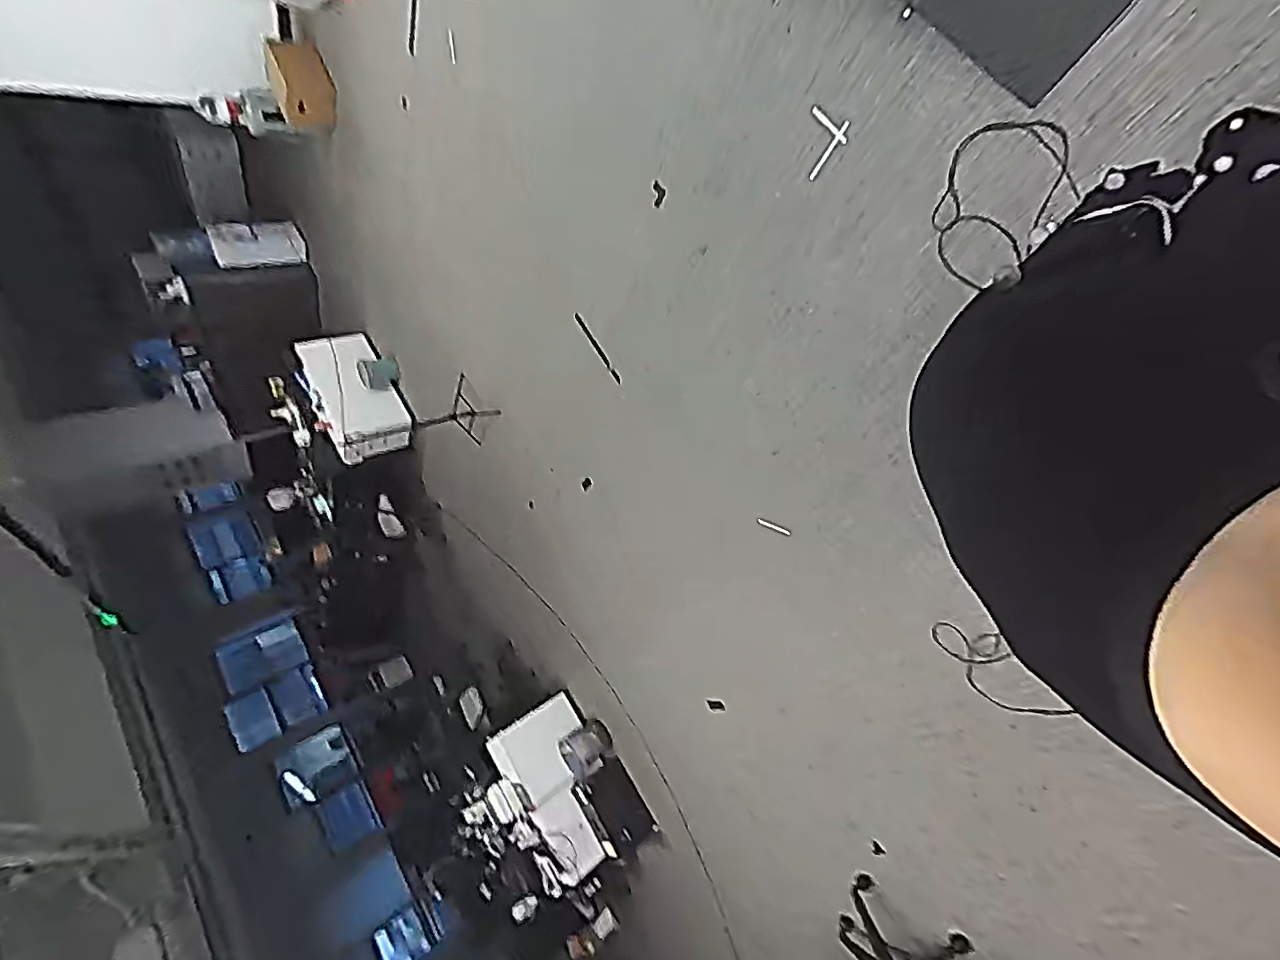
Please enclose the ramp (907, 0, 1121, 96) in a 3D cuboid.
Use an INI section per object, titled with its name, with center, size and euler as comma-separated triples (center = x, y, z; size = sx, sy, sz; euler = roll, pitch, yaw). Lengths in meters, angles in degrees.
[ramp]
center = 0.571, -1.271, 0.999
size = 0.991, 0.206, 0.509
euler = 55, 141, 16
